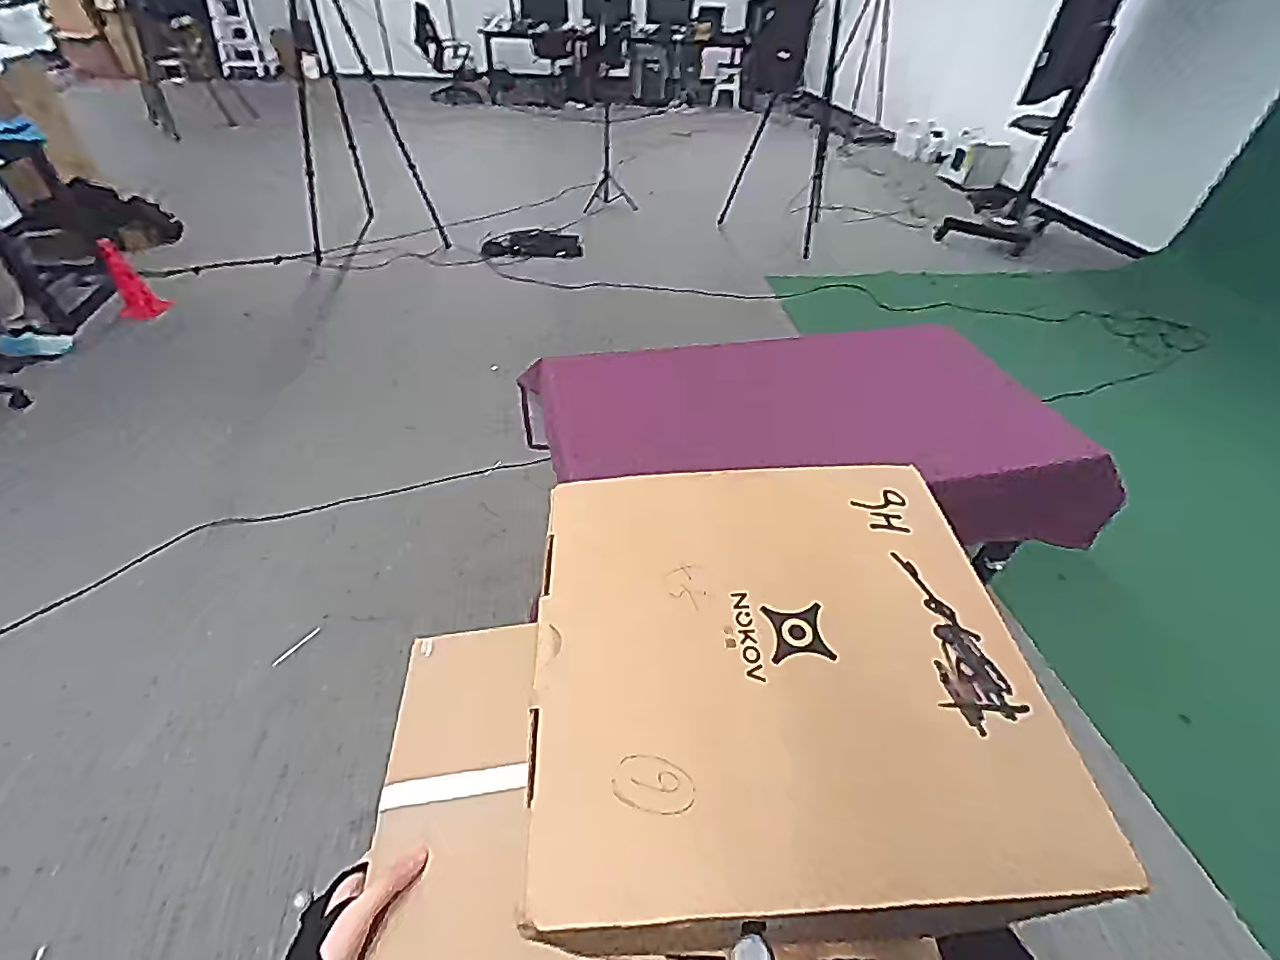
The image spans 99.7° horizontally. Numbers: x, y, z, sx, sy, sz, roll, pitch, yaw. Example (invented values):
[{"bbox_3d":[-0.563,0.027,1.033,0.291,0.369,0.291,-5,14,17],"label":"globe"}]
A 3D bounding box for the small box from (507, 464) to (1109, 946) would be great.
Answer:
[{"bbox_3d":[0.048,0.112,0.264,0.179,0.176,0.168,-4,48,-1],"label":"small box"}]
